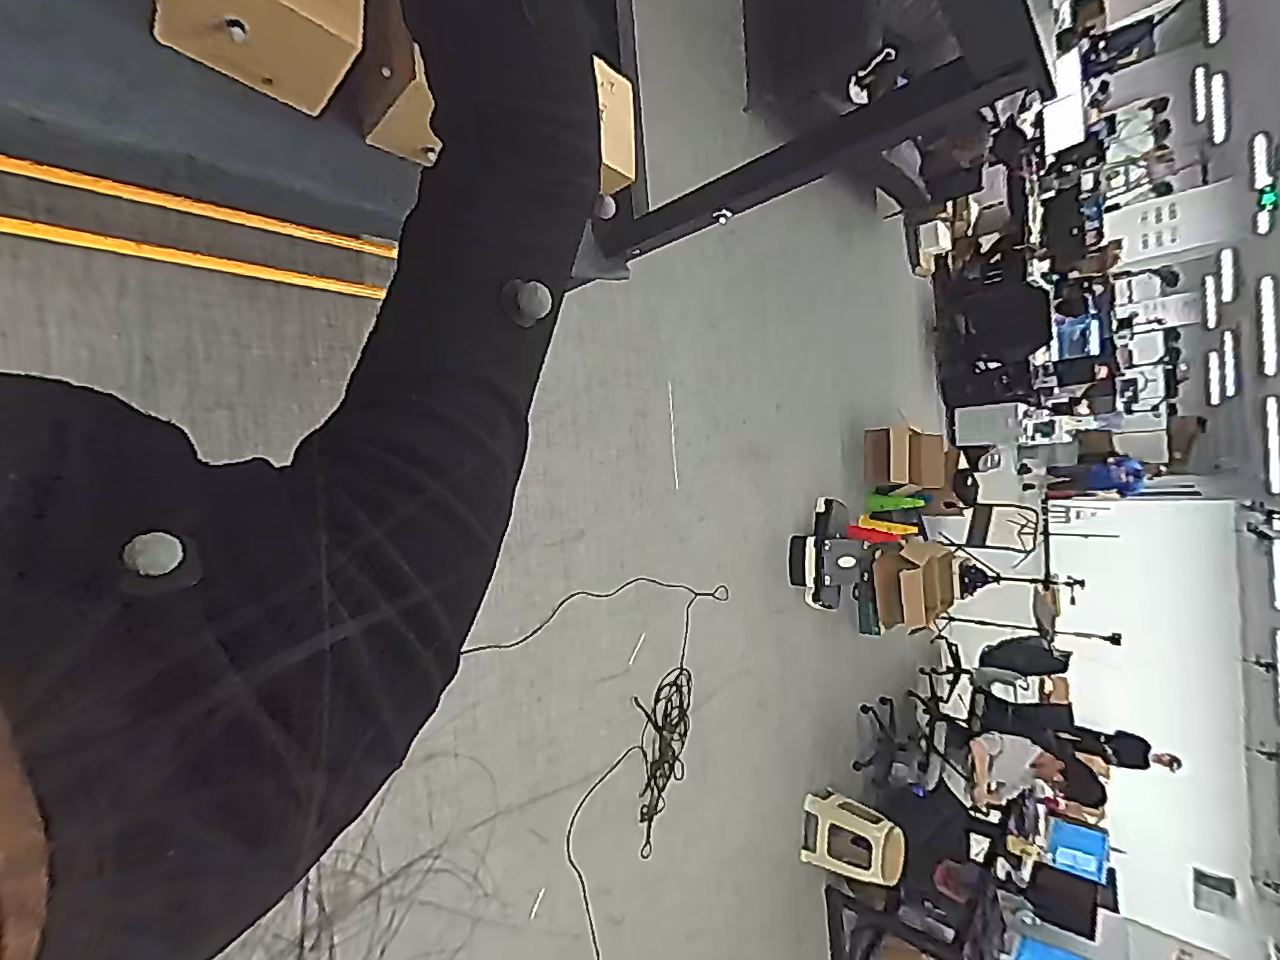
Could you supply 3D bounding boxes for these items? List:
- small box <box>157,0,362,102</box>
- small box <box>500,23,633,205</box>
[{"bbox_3d":[-0.431,-0.589,0.618,0.168,0.176,0.179,4,85,-47],"label":"small box"},{"bbox_3d":[-0.129,-0.612,0.938,0.168,0.176,0.179,-1,88,-47],"label":"small box"}]
